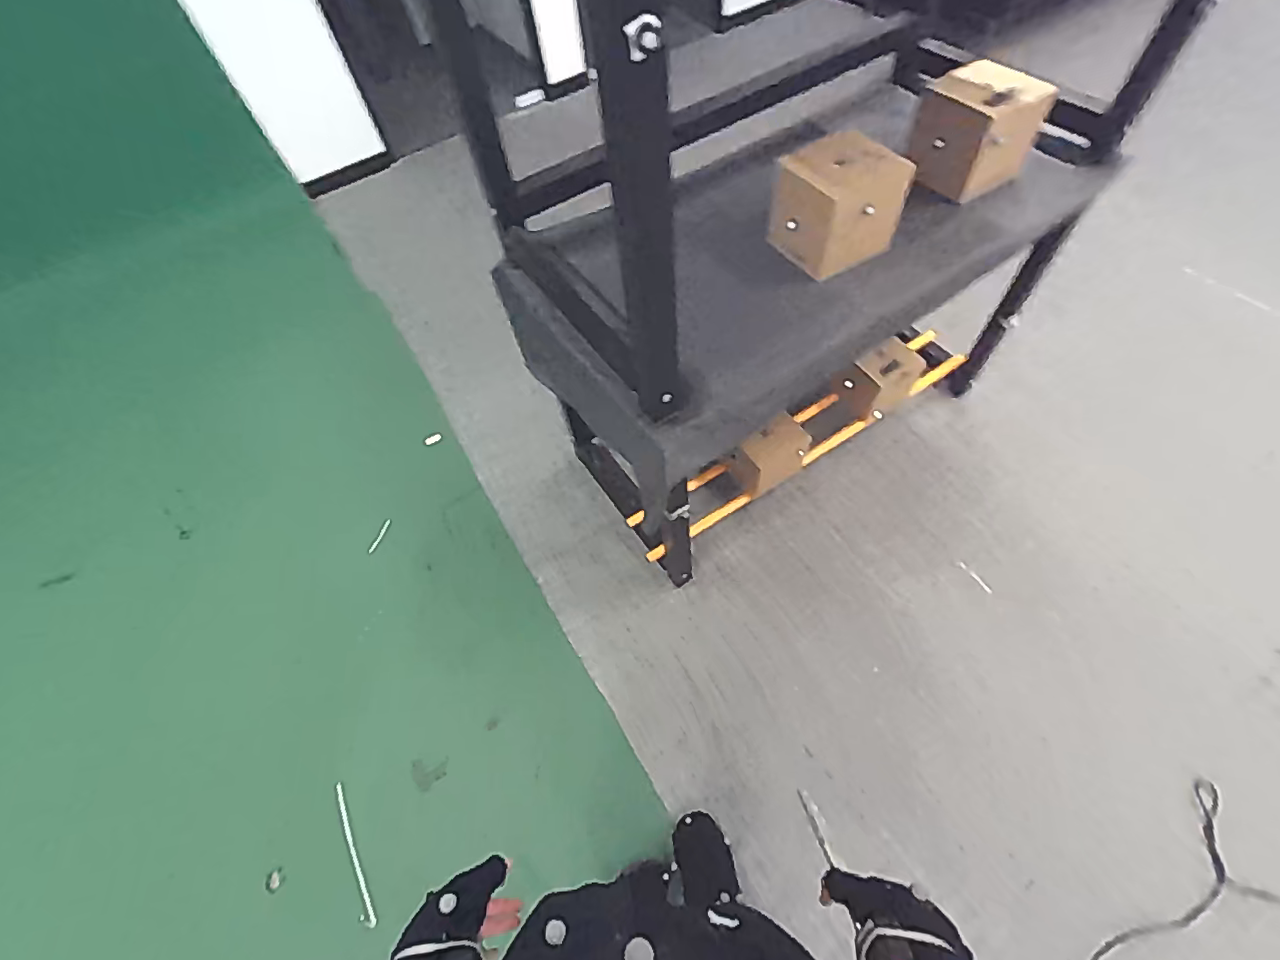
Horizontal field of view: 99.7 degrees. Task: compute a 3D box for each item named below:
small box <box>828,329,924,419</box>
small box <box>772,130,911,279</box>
[{"bbox_3d":[0.686,-0.302,1.590,0.168,0.176,0.179,-29,60,-11],"label":"small box"},{"bbox_3d":[0.365,-0.514,1.021,0.179,0.176,0.168,-29,60,-11],"label":"small box"}]
